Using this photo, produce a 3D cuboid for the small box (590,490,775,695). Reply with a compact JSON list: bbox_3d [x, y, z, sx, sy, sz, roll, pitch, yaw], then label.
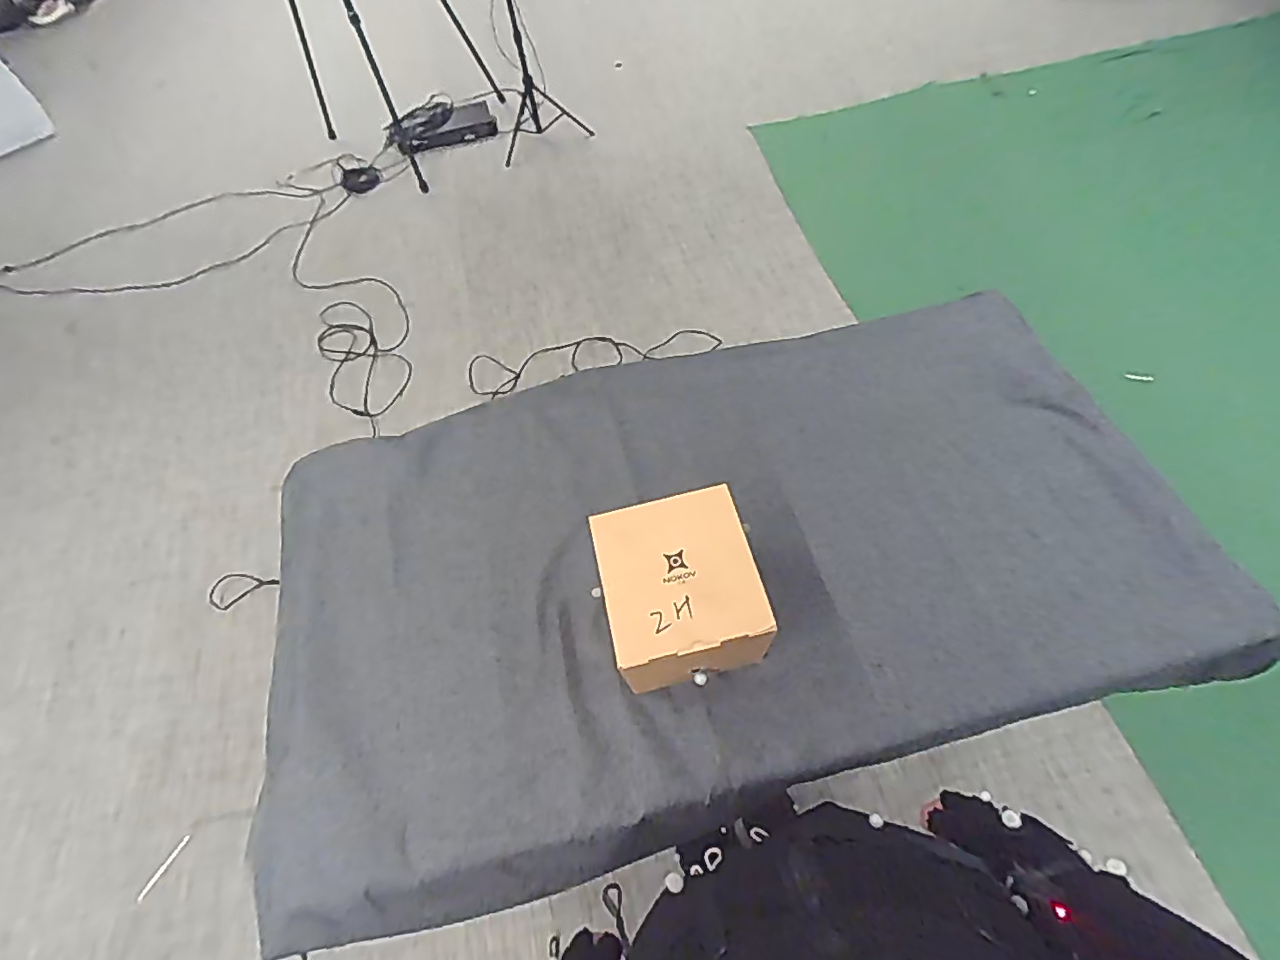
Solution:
[{"bbox_3d":[0.045,0.139,0.646,0.168,0.176,0.179,-14,61,-2],"label":"small box"}]
